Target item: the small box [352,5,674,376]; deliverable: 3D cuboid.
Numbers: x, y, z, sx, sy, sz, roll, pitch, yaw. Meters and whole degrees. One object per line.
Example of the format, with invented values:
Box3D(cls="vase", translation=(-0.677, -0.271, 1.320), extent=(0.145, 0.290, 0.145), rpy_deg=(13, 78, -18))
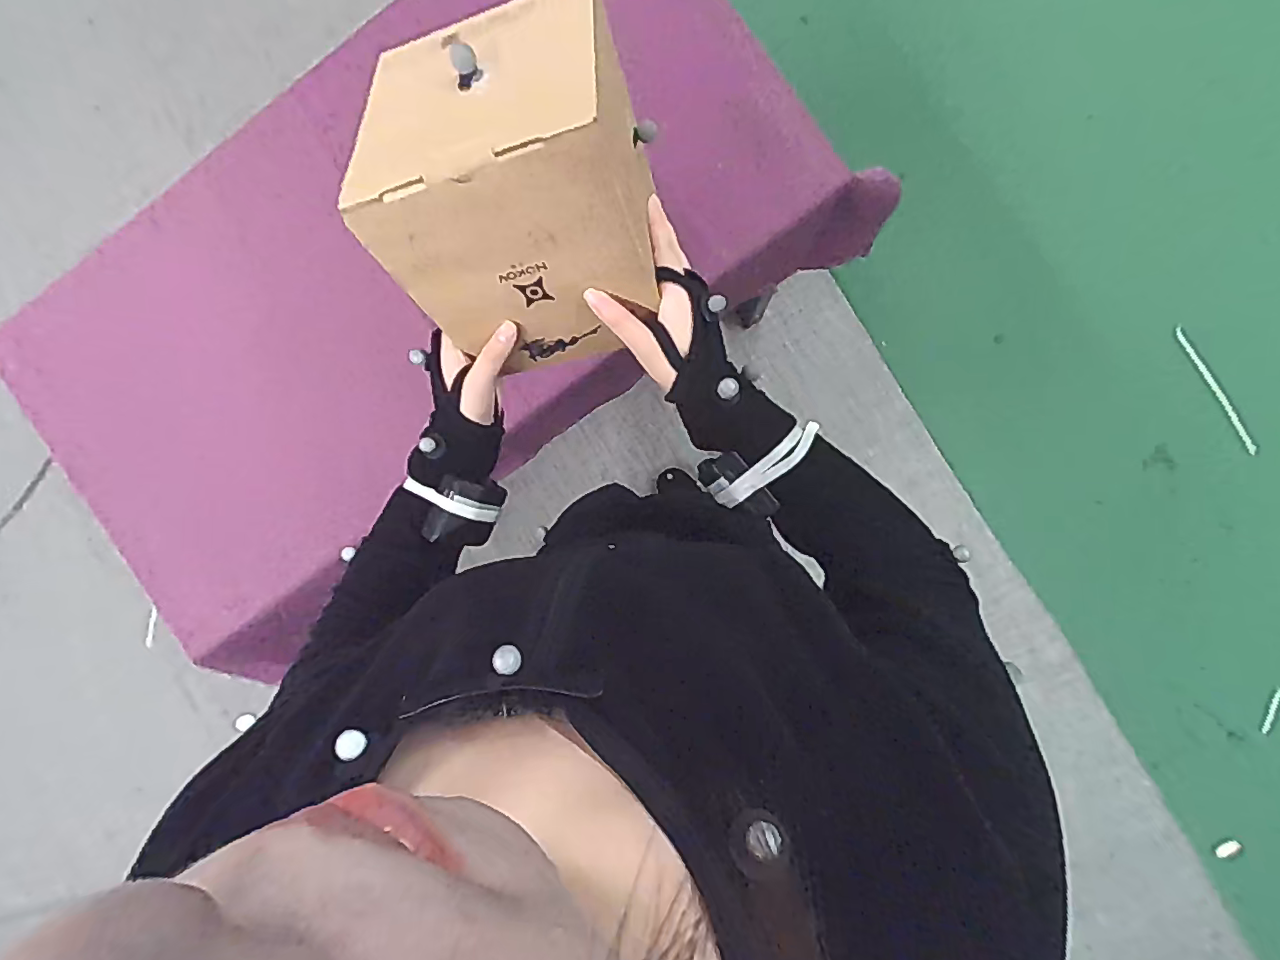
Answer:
Box3D(cls="small box", translation=(-0.076, -0.209, 0.410), extent=(0.168, 0.179, 0.176), rpy_deg=(-8, 63, 13))
